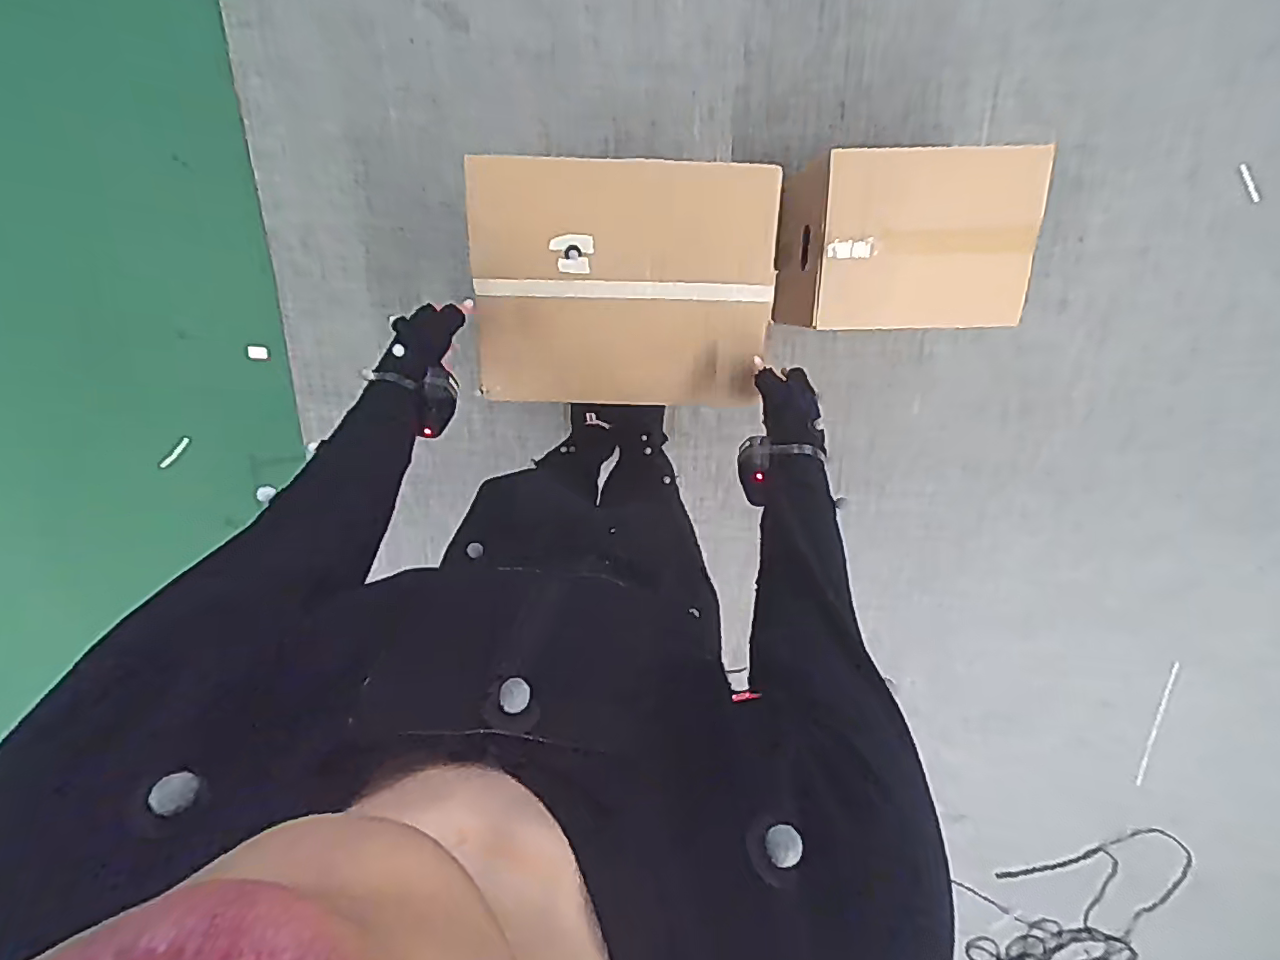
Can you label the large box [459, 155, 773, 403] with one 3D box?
[{"bbox_3d":[-0.030,-0.313,0.867,0.408,0.320,0.320,2,110,0],"label":"large box"}]
